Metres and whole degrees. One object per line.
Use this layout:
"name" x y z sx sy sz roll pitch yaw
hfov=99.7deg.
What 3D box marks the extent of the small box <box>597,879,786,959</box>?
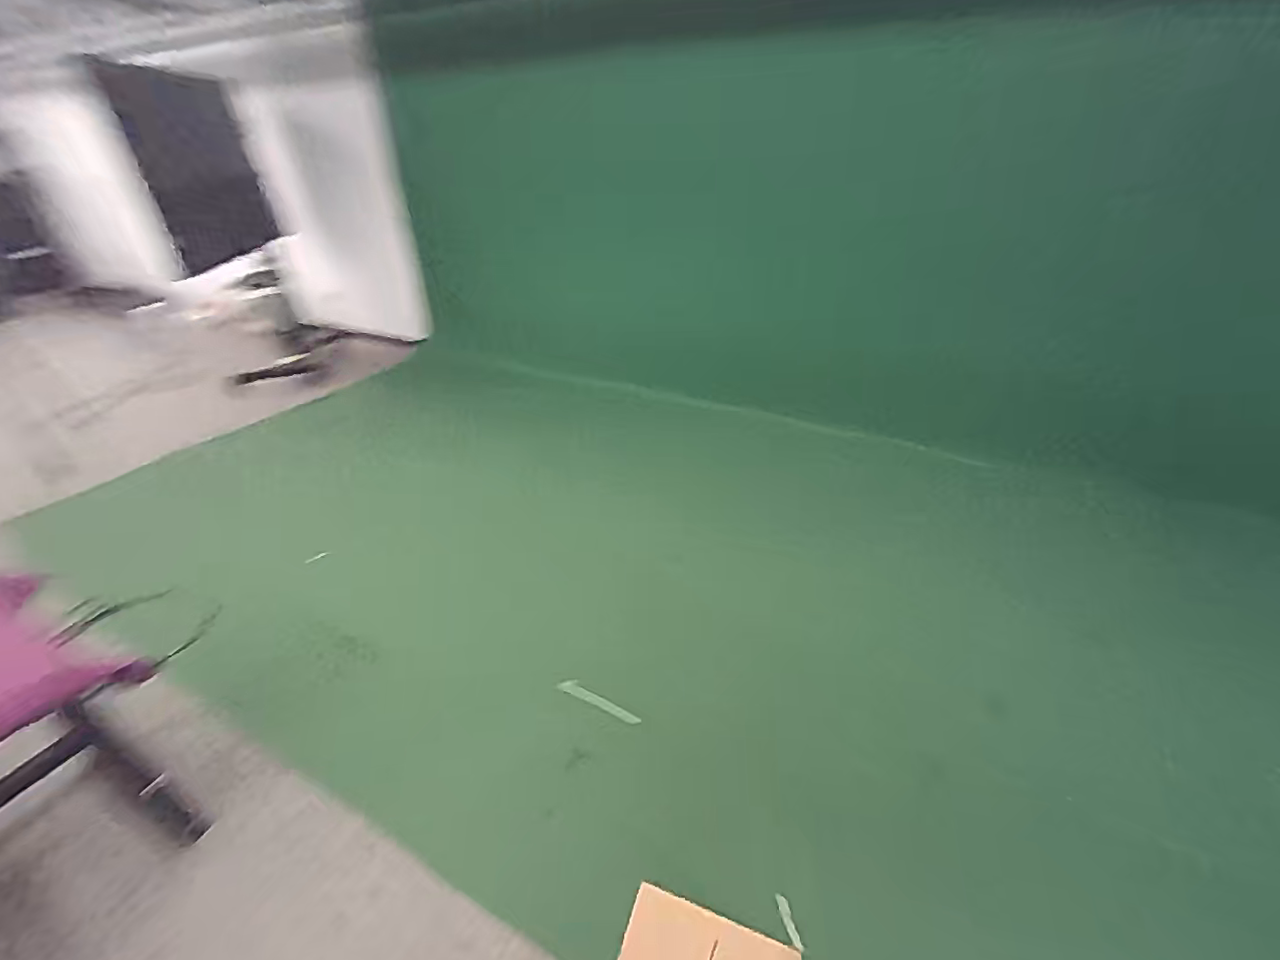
"small box" 0.027 0.527 0.491 0.168 0.176 0.179 13 28 13
